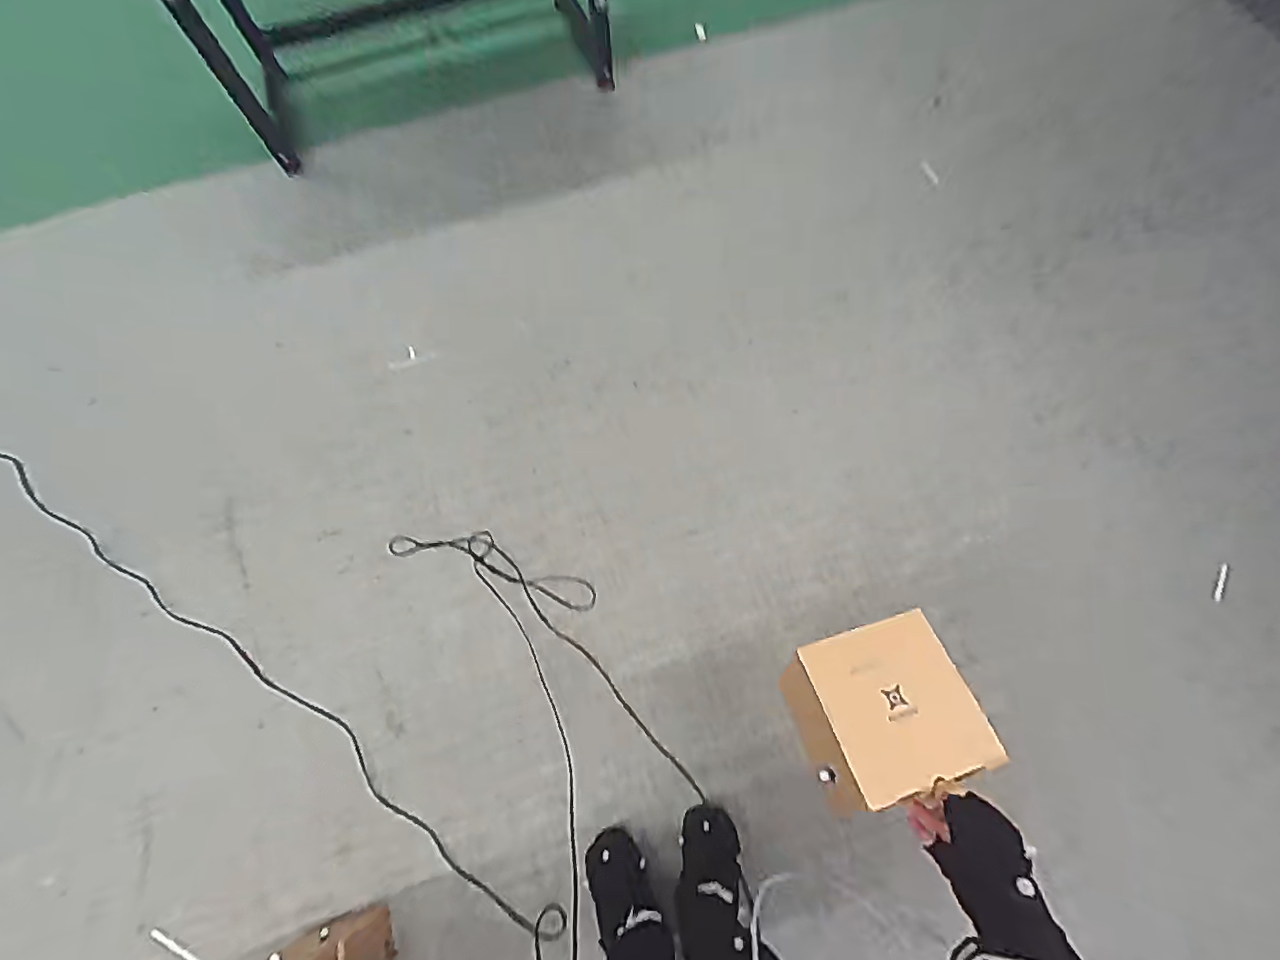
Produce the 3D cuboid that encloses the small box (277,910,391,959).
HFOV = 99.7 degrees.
[{"bbox_3d":[-0.569,0.934,0.988,0.179,0.176,0.168,-17,69,-5],"label":"small box"}]

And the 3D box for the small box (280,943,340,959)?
[{"bbox_3d":[-0.582,0.876,0.835,0.168,0.176,0.179,-16,68,-4],"label":"small box"}]

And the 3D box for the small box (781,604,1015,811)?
[{"bbox_3d":[0.289,0.279,0.655,0.168,0.176,0.179,-16,58,-6],"label":"small box"}]
